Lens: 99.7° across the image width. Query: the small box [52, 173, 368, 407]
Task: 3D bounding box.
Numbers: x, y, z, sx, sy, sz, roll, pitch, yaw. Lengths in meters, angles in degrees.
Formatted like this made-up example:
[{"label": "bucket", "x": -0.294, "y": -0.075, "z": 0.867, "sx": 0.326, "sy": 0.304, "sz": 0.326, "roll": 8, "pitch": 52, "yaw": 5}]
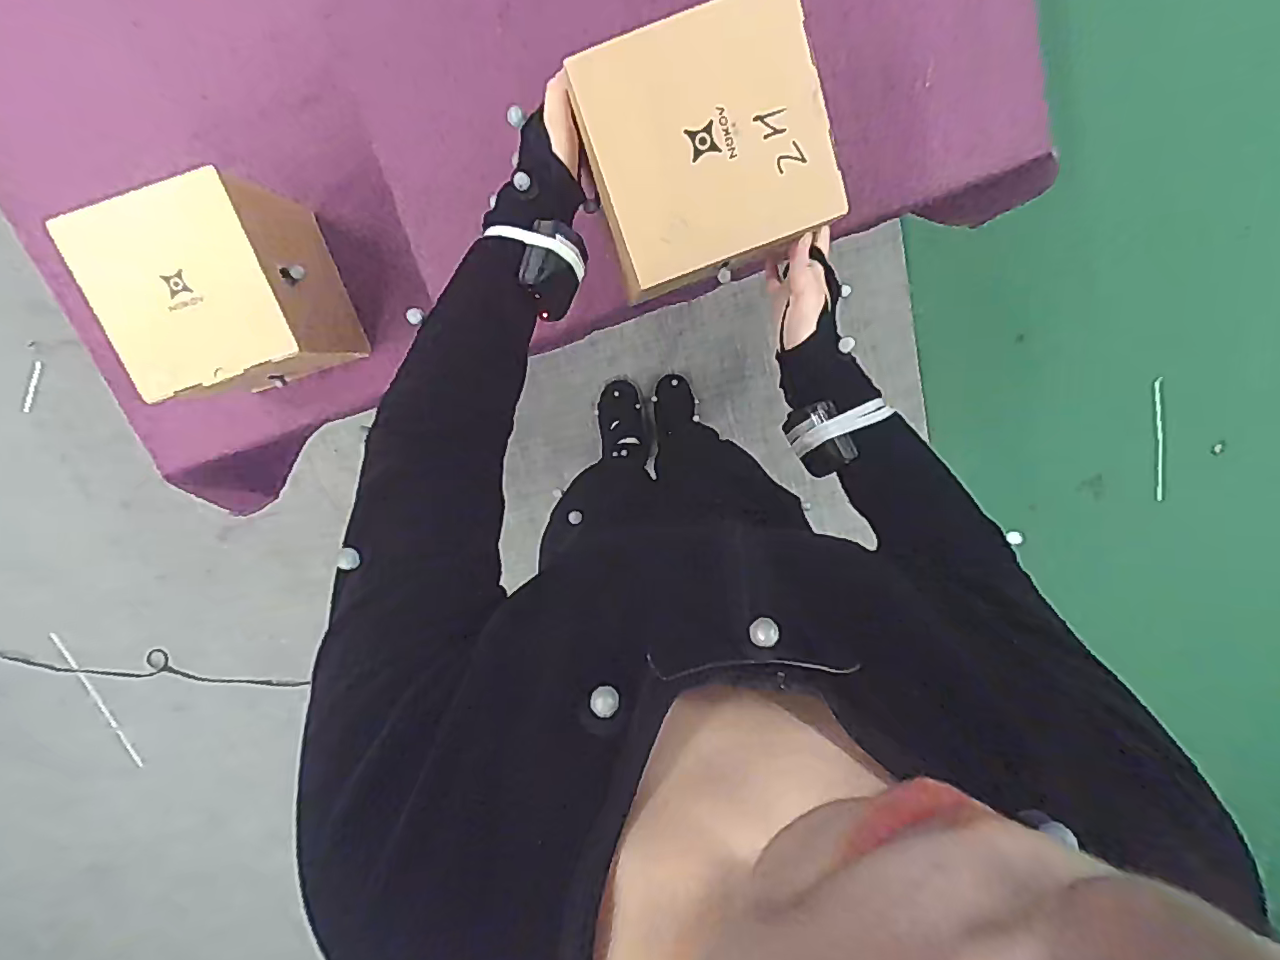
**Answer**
[{"label": "small box", "x": -0.435, "y": -0.193, "z": 0.585, "sx": 0.168, "sy": 0.176, "sz": 0.179, "roll": -18, "pitch": 105, "yaw": 1}]
